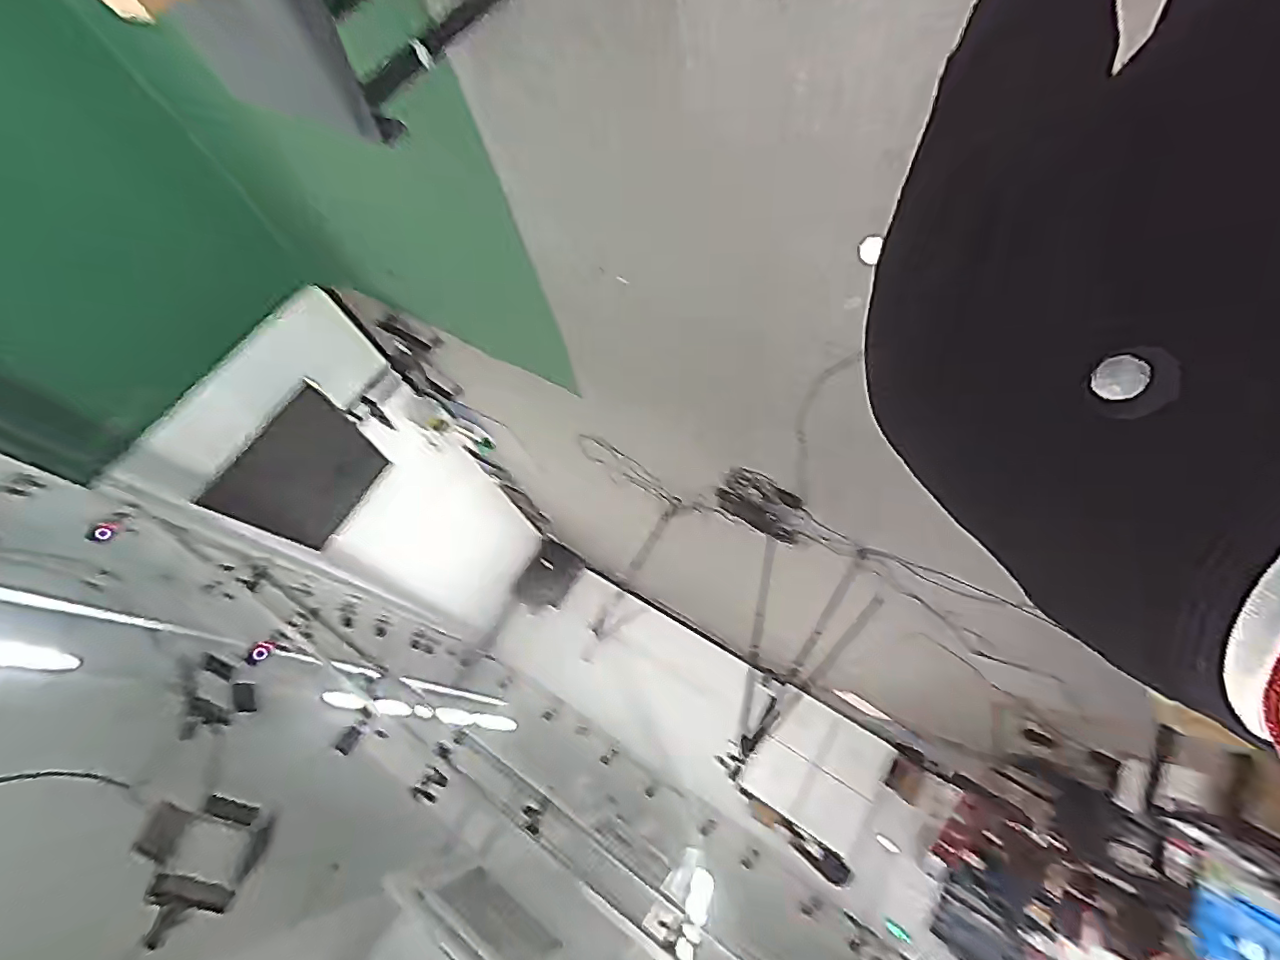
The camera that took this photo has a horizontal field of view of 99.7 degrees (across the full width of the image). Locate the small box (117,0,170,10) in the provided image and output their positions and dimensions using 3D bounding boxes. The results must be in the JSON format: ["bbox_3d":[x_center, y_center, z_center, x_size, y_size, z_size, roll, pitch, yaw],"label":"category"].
[{"bbox_3d":[-1.112,-1.171,1.180,0.179,0.176,0.168,25,161,25],"label":"small box"}]
